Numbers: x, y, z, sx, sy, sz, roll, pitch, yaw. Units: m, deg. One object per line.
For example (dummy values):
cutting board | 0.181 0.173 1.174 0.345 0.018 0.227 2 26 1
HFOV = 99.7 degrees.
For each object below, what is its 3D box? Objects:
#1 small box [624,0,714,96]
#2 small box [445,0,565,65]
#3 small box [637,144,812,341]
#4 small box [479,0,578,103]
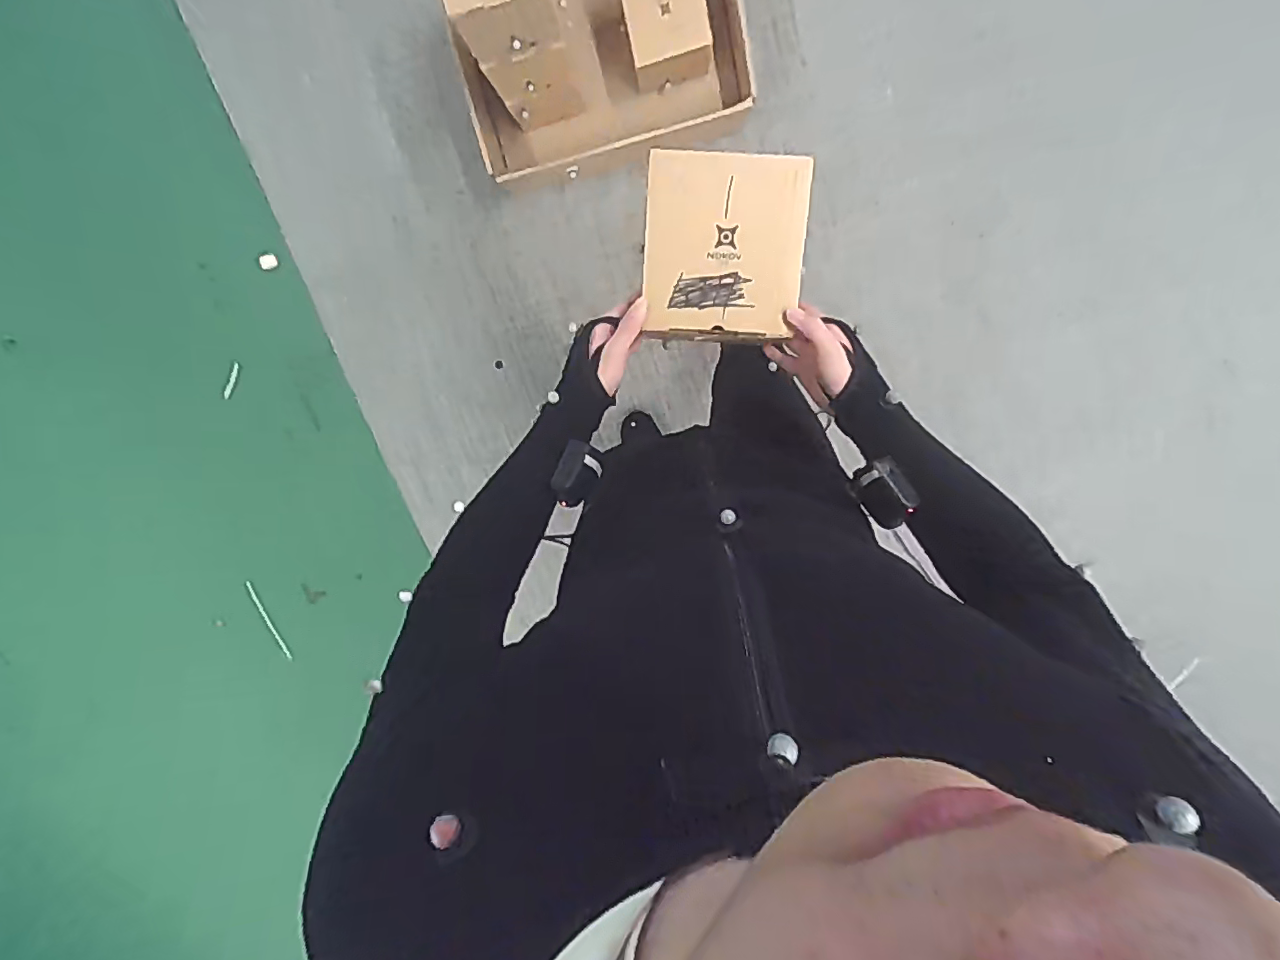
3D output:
small box | 0.061 -0.978 1.169 0.168 0.176 0.179 -11 107 8
small box | -0.232 -0.836 0.888 0.168 0.176 0.179 -11 106 6
small box | 0.087 -0.259 0.629 0.168 0.176 0.179 4 100 1
small box | -0.227 -0.877 1.047 0.168 0.176 0.179 -12 106 6
